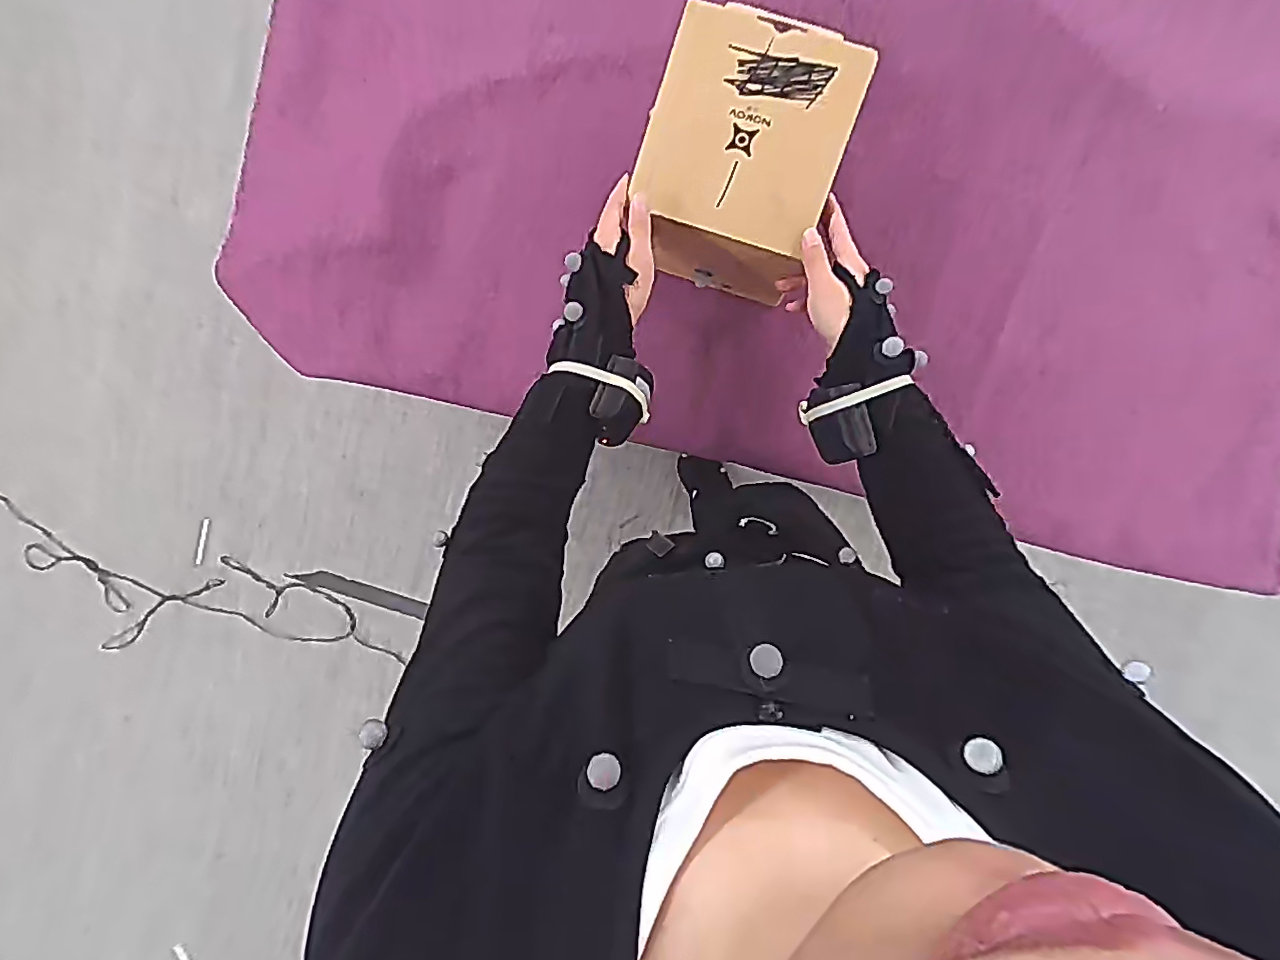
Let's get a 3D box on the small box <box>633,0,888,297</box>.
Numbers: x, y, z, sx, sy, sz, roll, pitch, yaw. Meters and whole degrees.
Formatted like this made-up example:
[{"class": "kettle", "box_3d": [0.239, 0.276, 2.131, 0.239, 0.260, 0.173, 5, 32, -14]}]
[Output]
[{"class": "small box", "box_3d": [0.104, -0.304, 0.525, 0.168, 0.176, 0.179, 20, 96, 4]}]
